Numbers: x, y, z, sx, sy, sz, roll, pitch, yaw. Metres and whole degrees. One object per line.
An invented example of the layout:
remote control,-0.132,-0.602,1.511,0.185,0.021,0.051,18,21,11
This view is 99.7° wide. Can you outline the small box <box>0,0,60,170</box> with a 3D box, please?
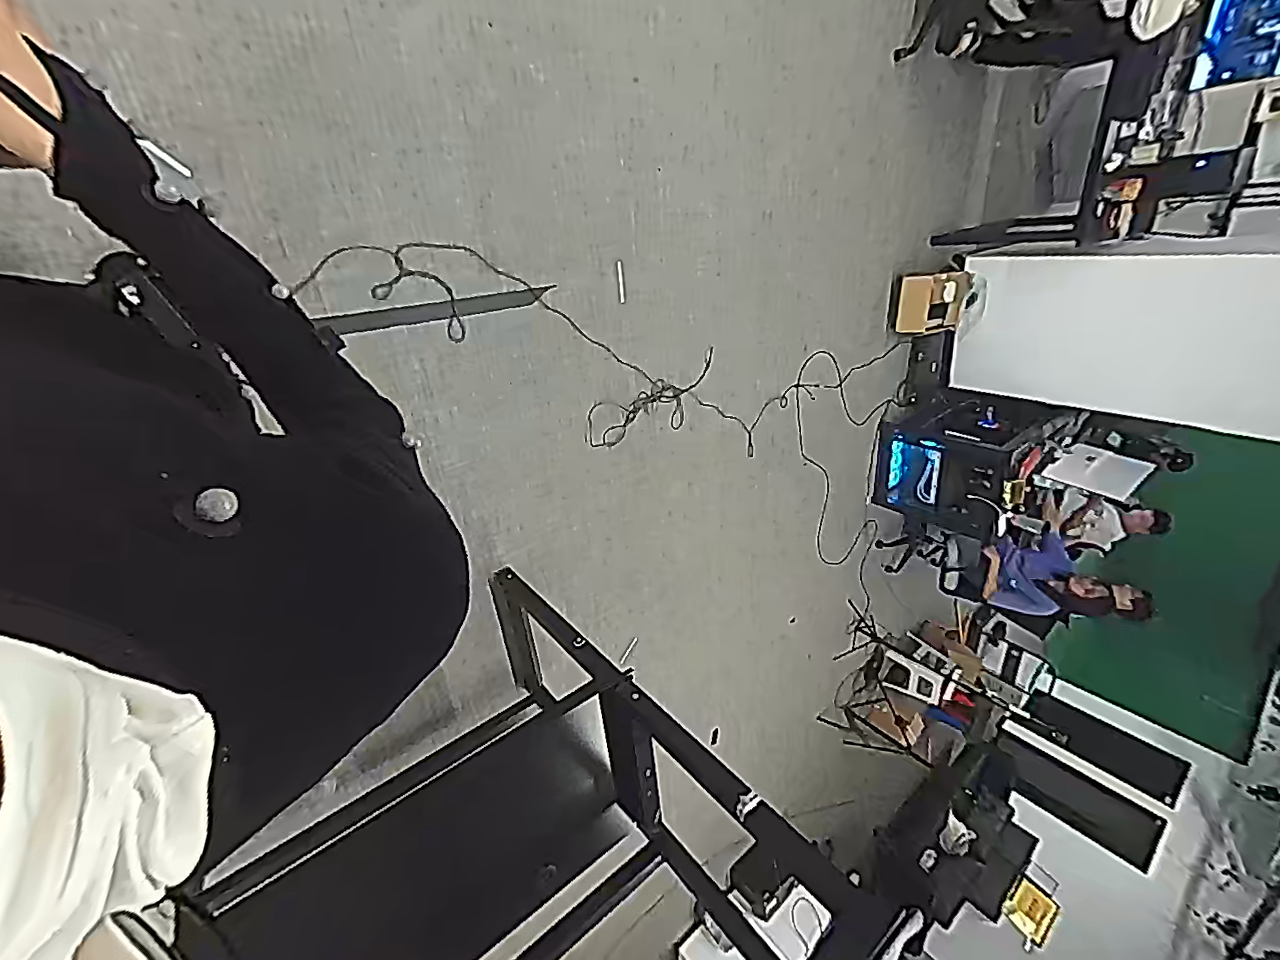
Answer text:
small box,-0.548,-0.335,0.357,0.168,0.176,0.179,-22,104,-33
